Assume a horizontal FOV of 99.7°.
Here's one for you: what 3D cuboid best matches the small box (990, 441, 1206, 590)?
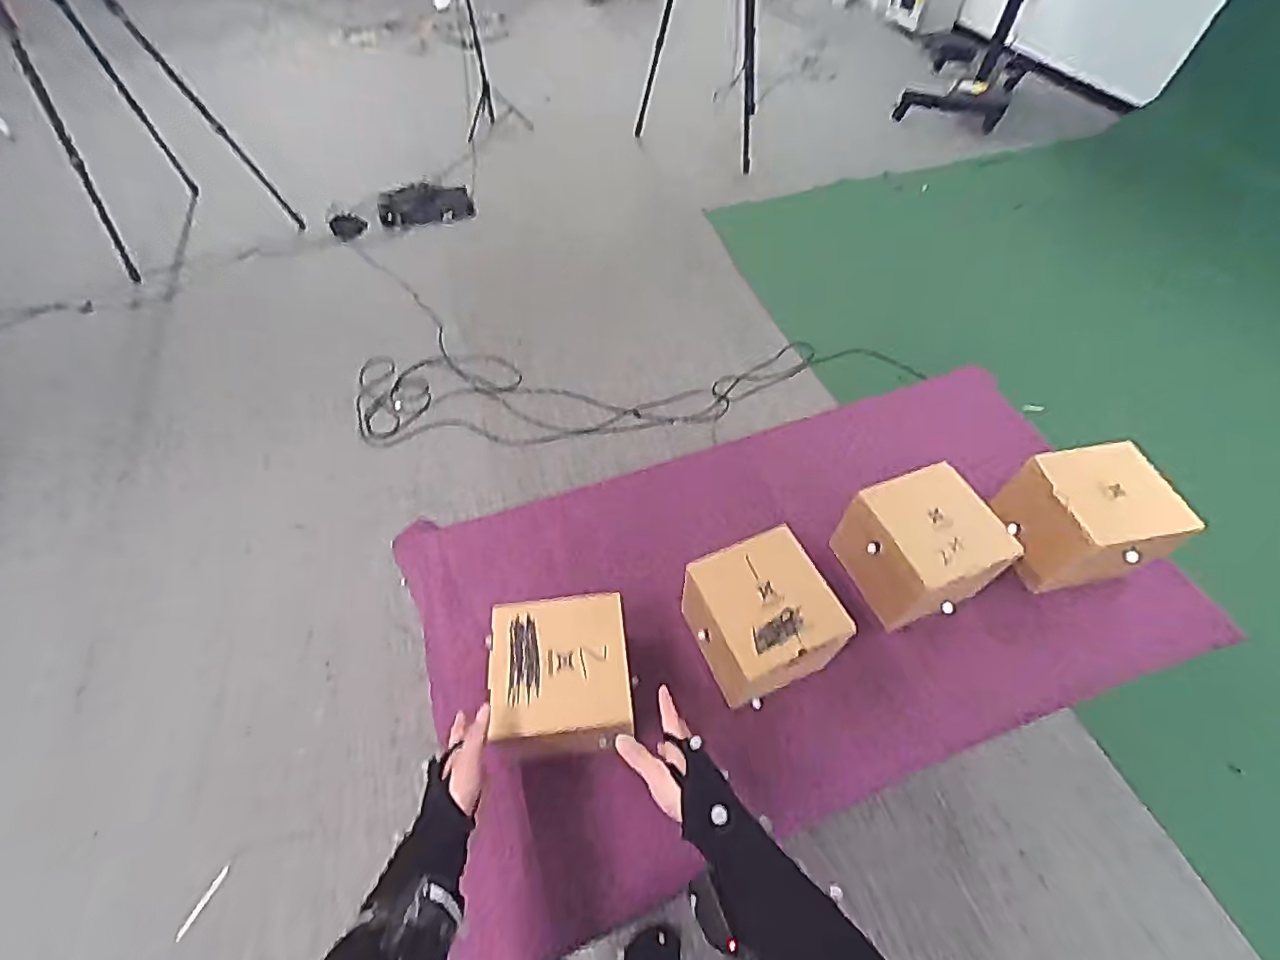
[{"bbox_3d":[0.717,0.062,0.877,0.179,0.176,0.168,-10,55,-4],"label":"small box"}]

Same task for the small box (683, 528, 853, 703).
[{"bbox_3d":[0.172,0.205,0.790,0.168,0.176,0.179,-20,56,-12],"label":"small box"}]

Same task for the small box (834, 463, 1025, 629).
[{"bbox_3d":[0.436,0.106,0.852,0.168,0.176,0.179,-18,57,-10],"label":"small box"}]
